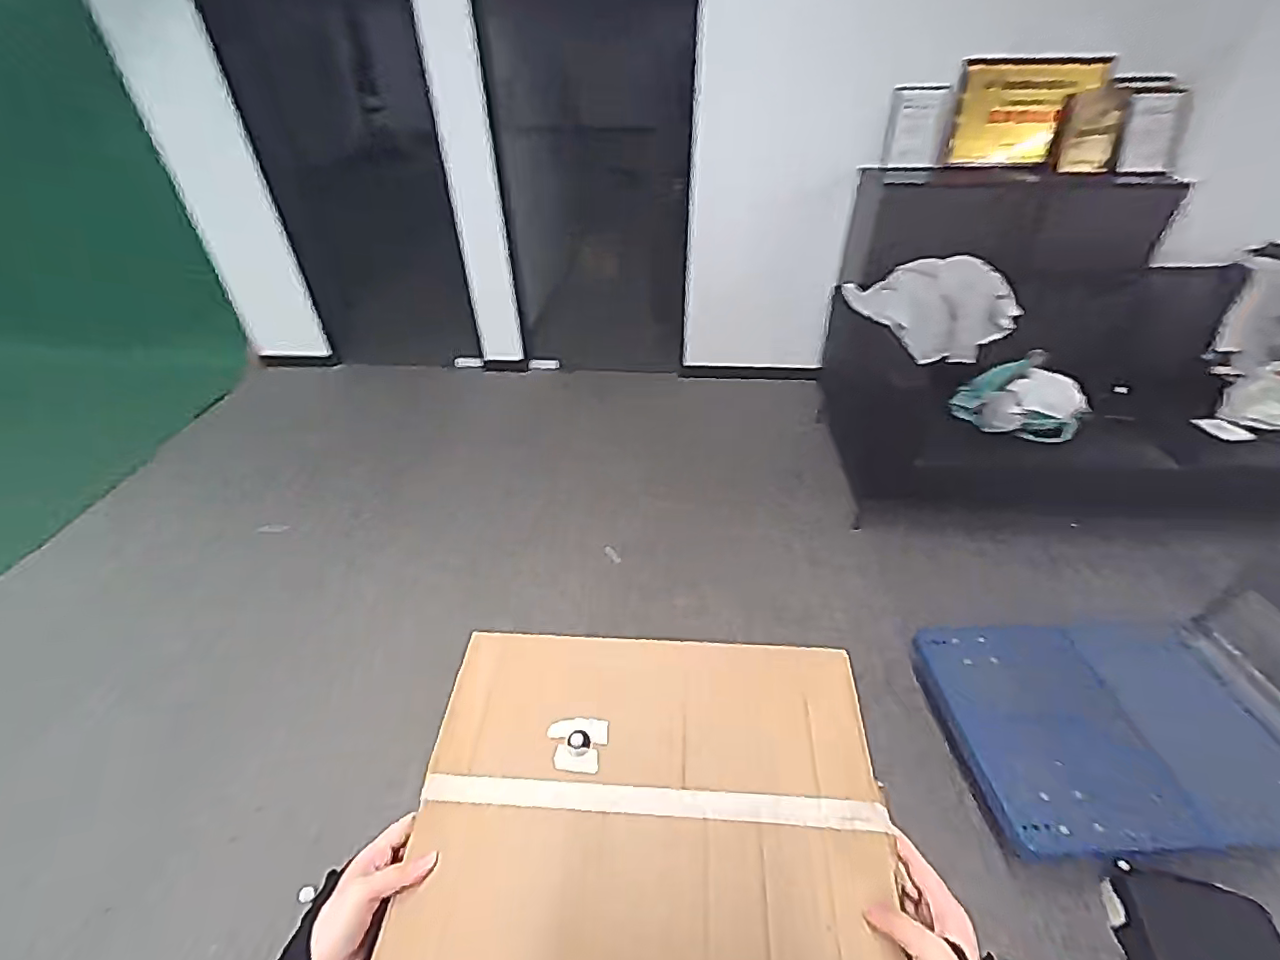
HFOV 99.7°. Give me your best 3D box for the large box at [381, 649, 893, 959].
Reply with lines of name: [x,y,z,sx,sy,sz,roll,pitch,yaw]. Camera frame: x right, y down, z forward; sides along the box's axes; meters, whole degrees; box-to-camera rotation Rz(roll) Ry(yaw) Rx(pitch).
large box: [0.009,0.398,0.593,0.408,0.320,0.320,-1,46,5]
